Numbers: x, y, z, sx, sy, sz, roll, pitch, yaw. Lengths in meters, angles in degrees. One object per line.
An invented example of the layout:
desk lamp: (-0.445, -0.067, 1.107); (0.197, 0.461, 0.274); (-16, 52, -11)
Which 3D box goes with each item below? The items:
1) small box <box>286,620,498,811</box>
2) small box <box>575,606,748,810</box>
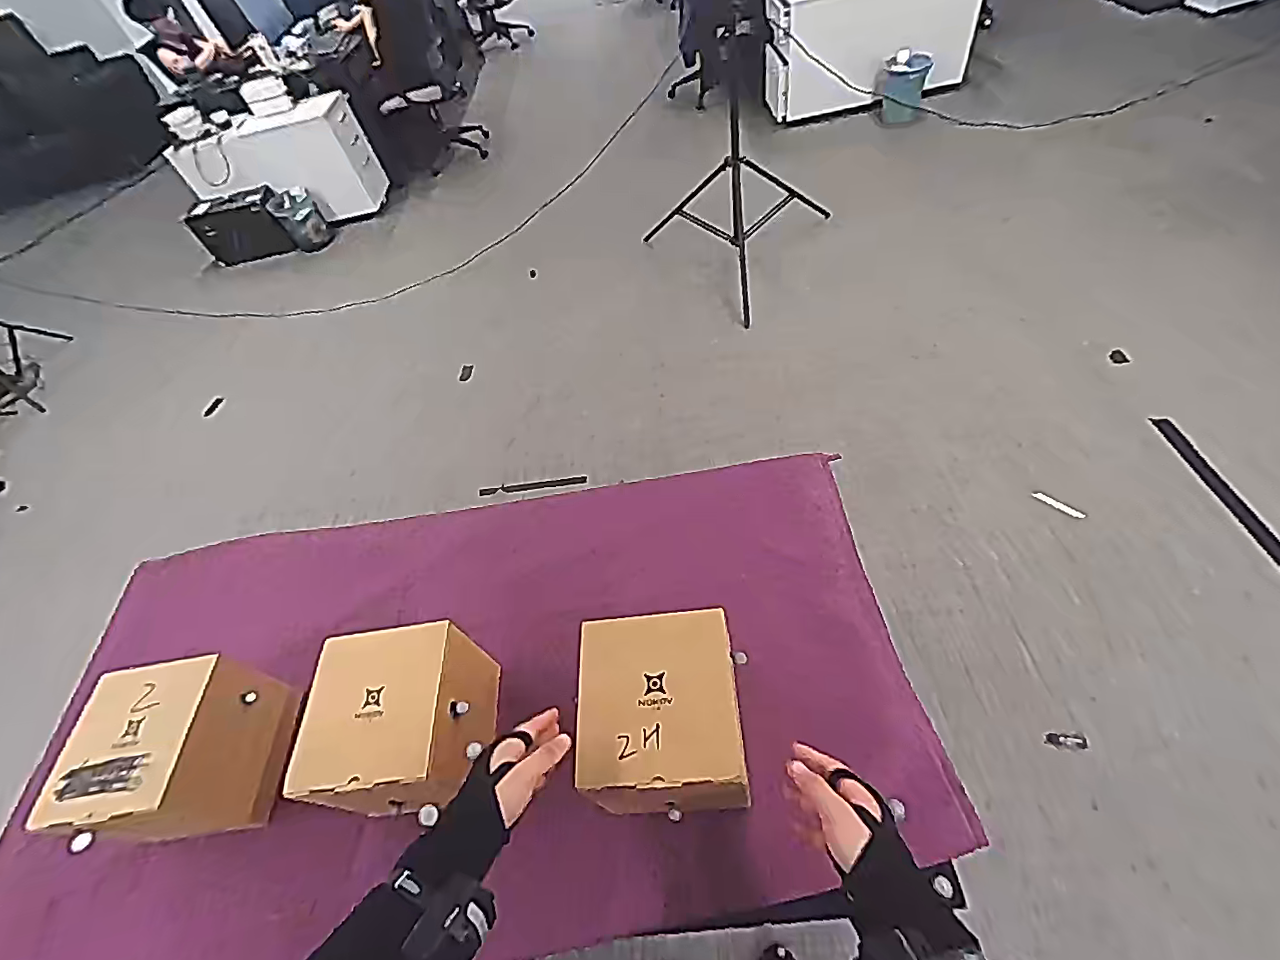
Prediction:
small box: (-0.289, 0.299, 0.680); (0.168, 0.176, 0.179); (-10, 52, 5)
small box: (0.031, 0.267, 0.627); (0.168, 0.176, 0.179); (-8, 51, 8)
